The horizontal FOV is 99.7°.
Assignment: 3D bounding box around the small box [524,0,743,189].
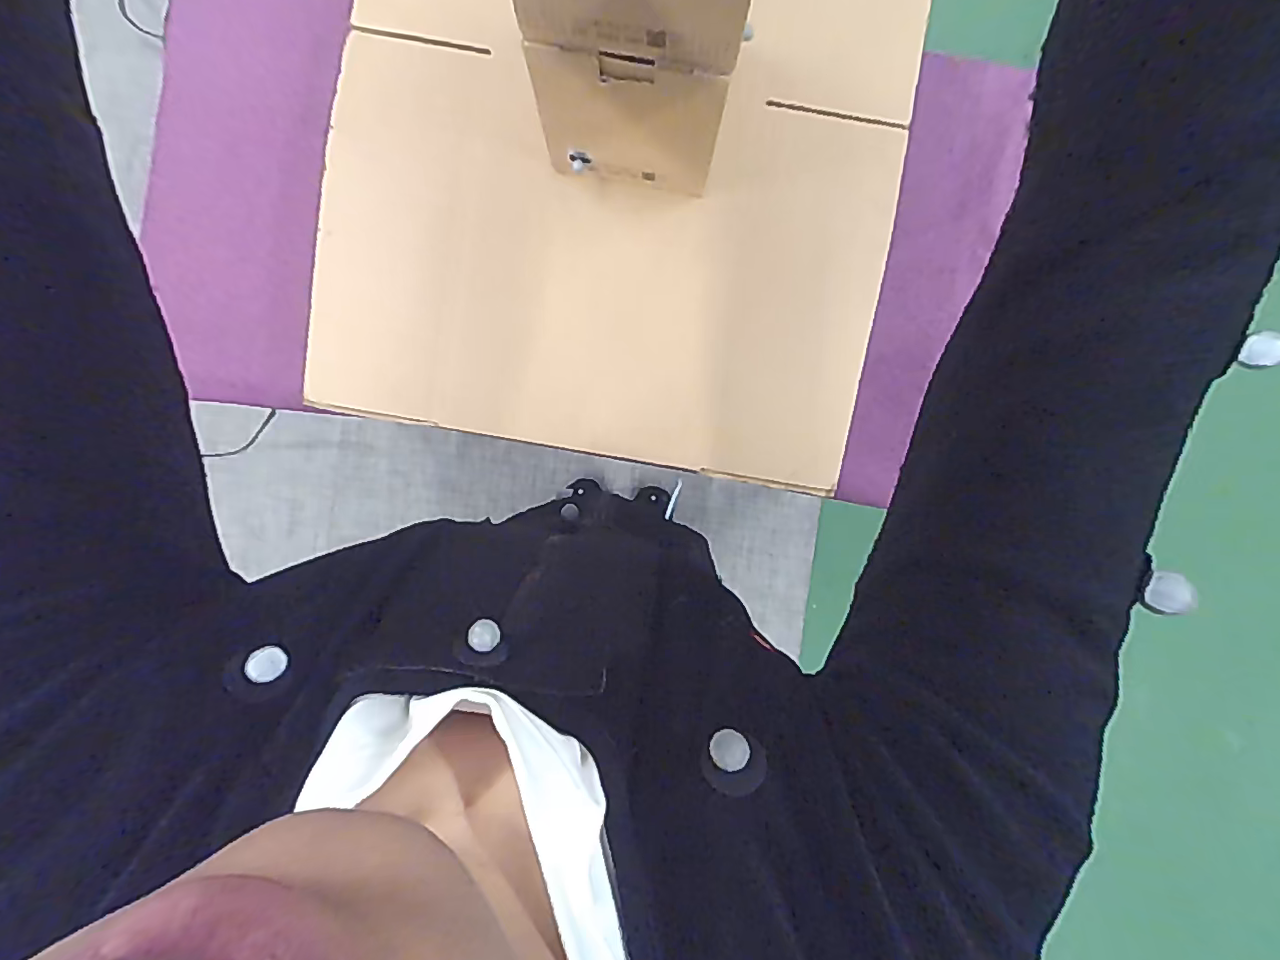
[{"bbox_3d":[0.004,-0.404,0.499,0.168,0.176,0.179,10,88,-1],"label":"small box"}]
